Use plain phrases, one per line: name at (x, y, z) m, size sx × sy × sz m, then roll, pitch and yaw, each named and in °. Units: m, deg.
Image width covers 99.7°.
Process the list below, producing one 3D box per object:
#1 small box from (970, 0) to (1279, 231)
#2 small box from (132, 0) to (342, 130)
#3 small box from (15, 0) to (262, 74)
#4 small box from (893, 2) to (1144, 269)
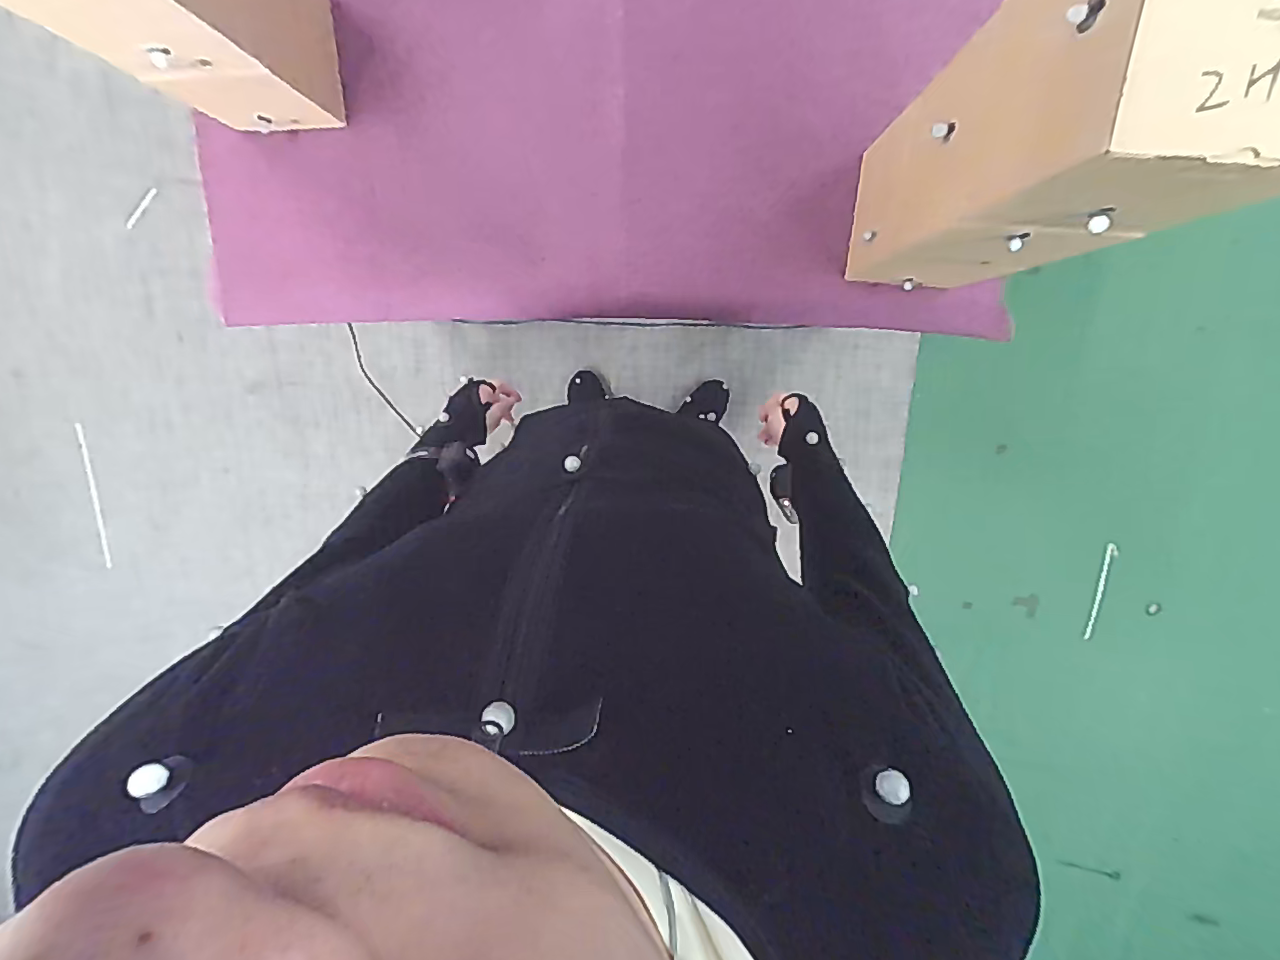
small box at (0.372, -0.296, 0.388) m, size 0.168 × 0.176 × 0.179 m, roll 5°, pitch 103°, yaw 3°
small box at (-0.519, -0.585, 0.699) m, size 0.168 × 0.176 × 0.179 m, roll -1°, pitch 104°, yaw 3°
small box at (-0.525, -0.548, 0.540) m, size 0.168 × 0.176 × 0.179 m, roll -1°, pitch 104°, yaw 3°
small box at (0.381, -0.328, 0.549) m, size 0.168 × 0.176 × 0.179 m, roll 6°, pitch 102°, yaw 3°
